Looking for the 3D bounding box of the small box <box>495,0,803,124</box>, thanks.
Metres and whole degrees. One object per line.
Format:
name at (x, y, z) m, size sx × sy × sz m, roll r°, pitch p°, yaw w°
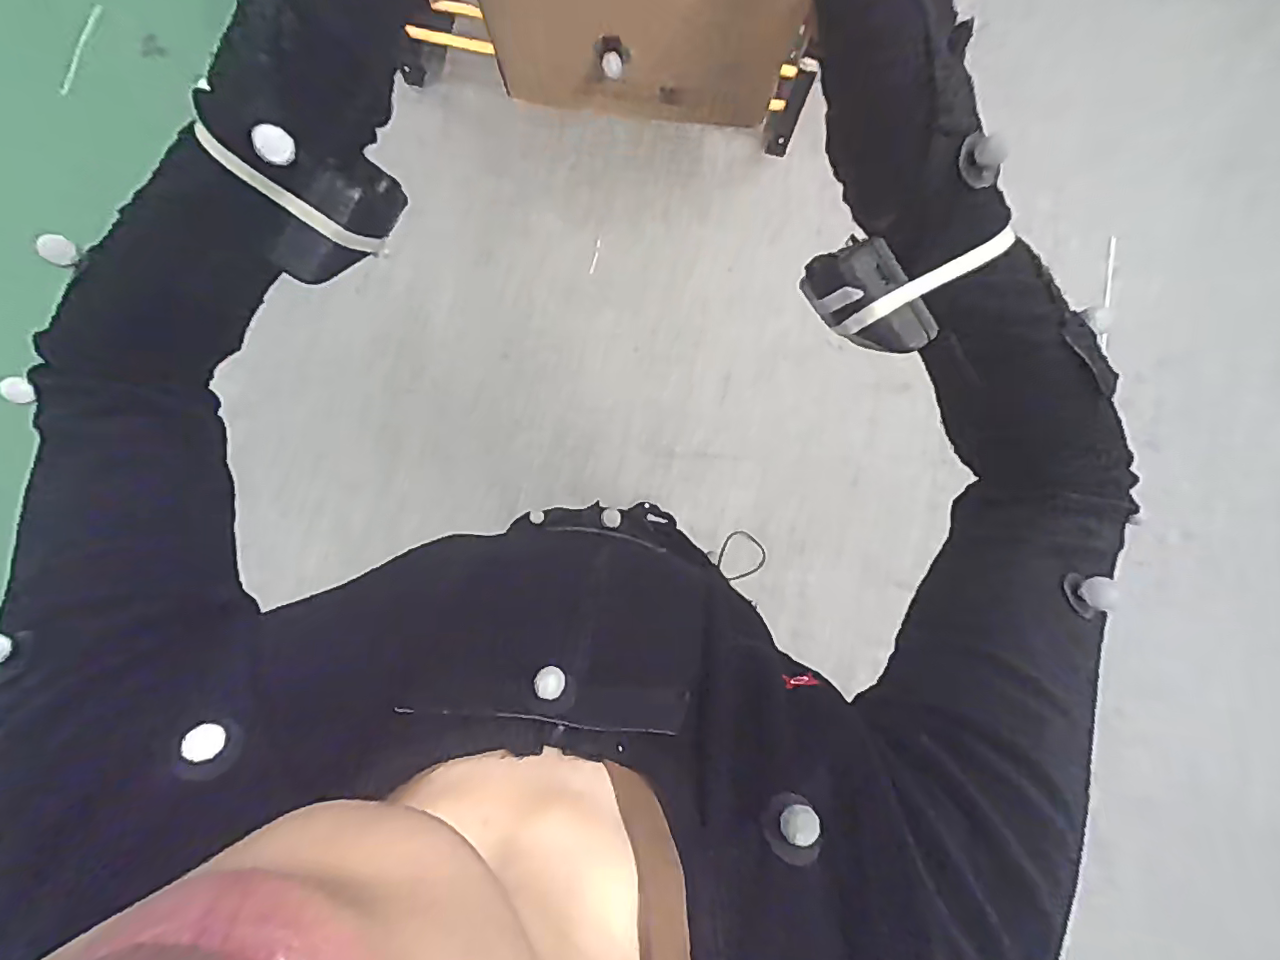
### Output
small box at (0.007, -0.326, 0.272) m, size 0.168 × 0.176 × 0.179 m, roll 5°, pitch 92°, yaw -1°
